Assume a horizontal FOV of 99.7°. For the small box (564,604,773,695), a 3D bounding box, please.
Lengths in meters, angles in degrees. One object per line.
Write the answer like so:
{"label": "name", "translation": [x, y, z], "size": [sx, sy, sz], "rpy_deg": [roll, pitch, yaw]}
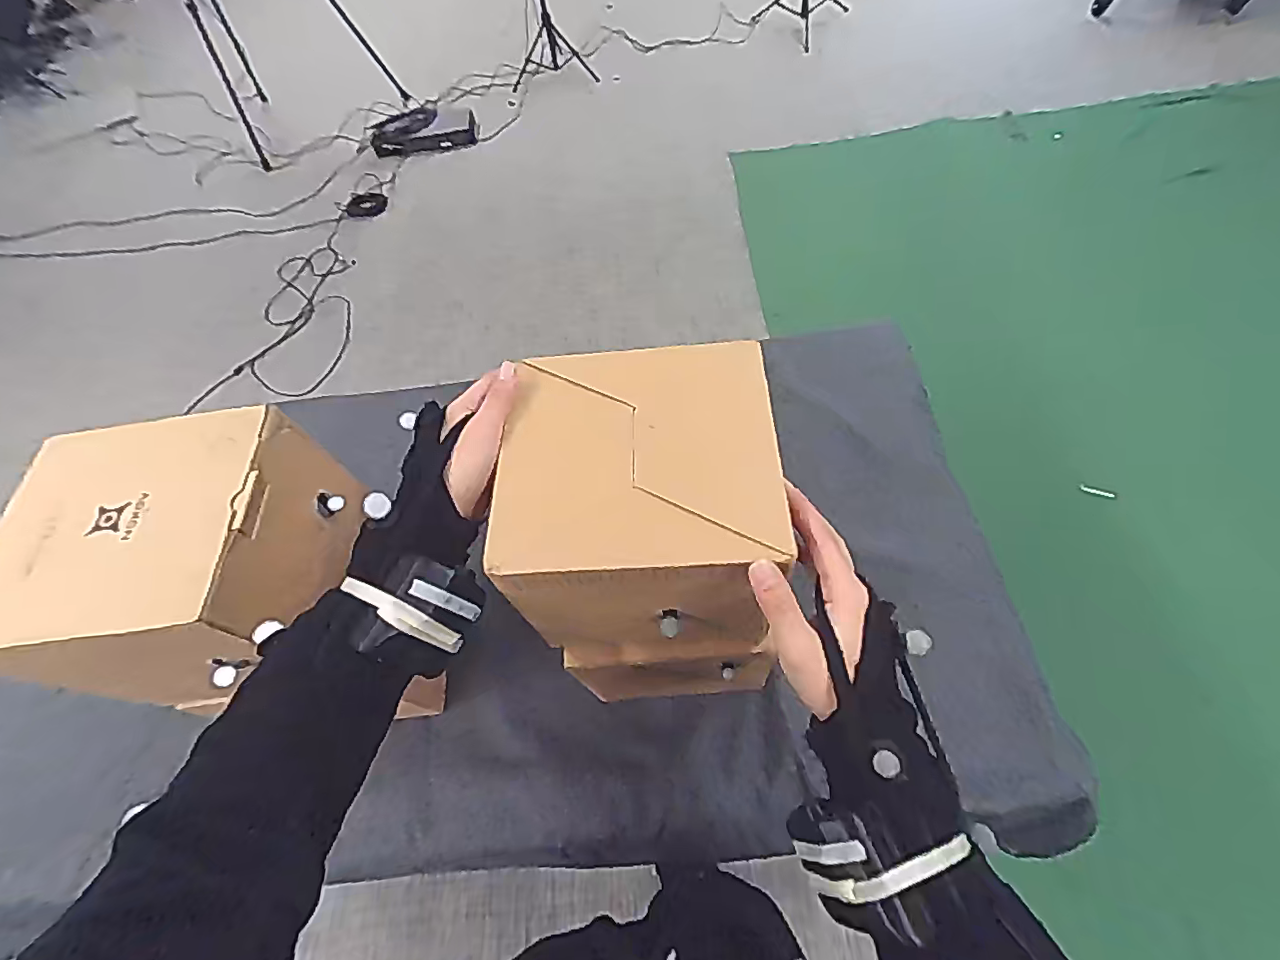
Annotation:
{"label": "small box", "translation": [0.028, 0.115, 0.551], "size": [0.179, 0.176, 0.168], "rpy_deg": [-6, 59, 3]}

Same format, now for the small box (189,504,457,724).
{"label": "small box", "translation": [-0.308, 0.147, 0.571], "size": [0.168, 0.176, 0.179], "rpy_deg": [-8, 59, 3]}

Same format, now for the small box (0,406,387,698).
{"label": "small box", "translation": [-0.331, 0.066, 0.432], "size": [0.179, 0.176, 0.168], "rpy_deg": [-9, 58, 3]}

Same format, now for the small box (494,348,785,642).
{"label": "small box", "translation": [0.006, 0.018, 0.415], "size": [0.179, 0.176, 0.168], "rpy_deg": [-4, 59, 4]}
